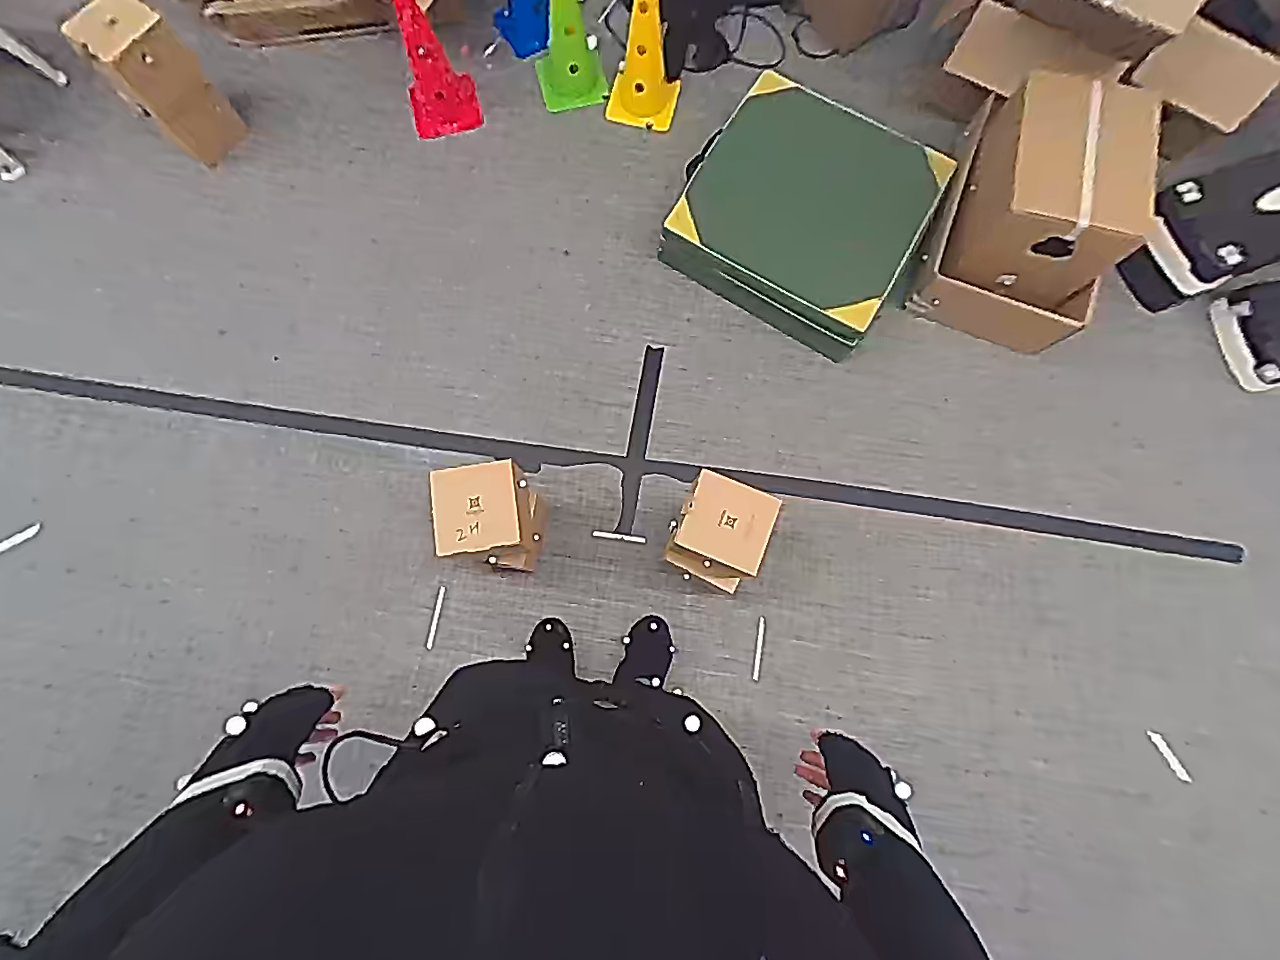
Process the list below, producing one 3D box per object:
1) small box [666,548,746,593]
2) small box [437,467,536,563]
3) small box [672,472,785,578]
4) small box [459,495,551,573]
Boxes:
[{"bbox_3d":[0.174,0.166,1.305,0.179,0.176,0.168,25,78,3],"label":"small box"},{"bbox_3d":[-0.320,0.080,1.149,0.168,0.176,0.179,-5,80,0],"label":"small box"},{"bbox_3d":[0.178,0.104,1.150,0.179,0.176,0.168,23,79,3],"label":"small box"},{"bbox_3d":[-0.318,0.127,1.307,0.168,0.176,0.179,7,77,1],"label":"small box"}]
